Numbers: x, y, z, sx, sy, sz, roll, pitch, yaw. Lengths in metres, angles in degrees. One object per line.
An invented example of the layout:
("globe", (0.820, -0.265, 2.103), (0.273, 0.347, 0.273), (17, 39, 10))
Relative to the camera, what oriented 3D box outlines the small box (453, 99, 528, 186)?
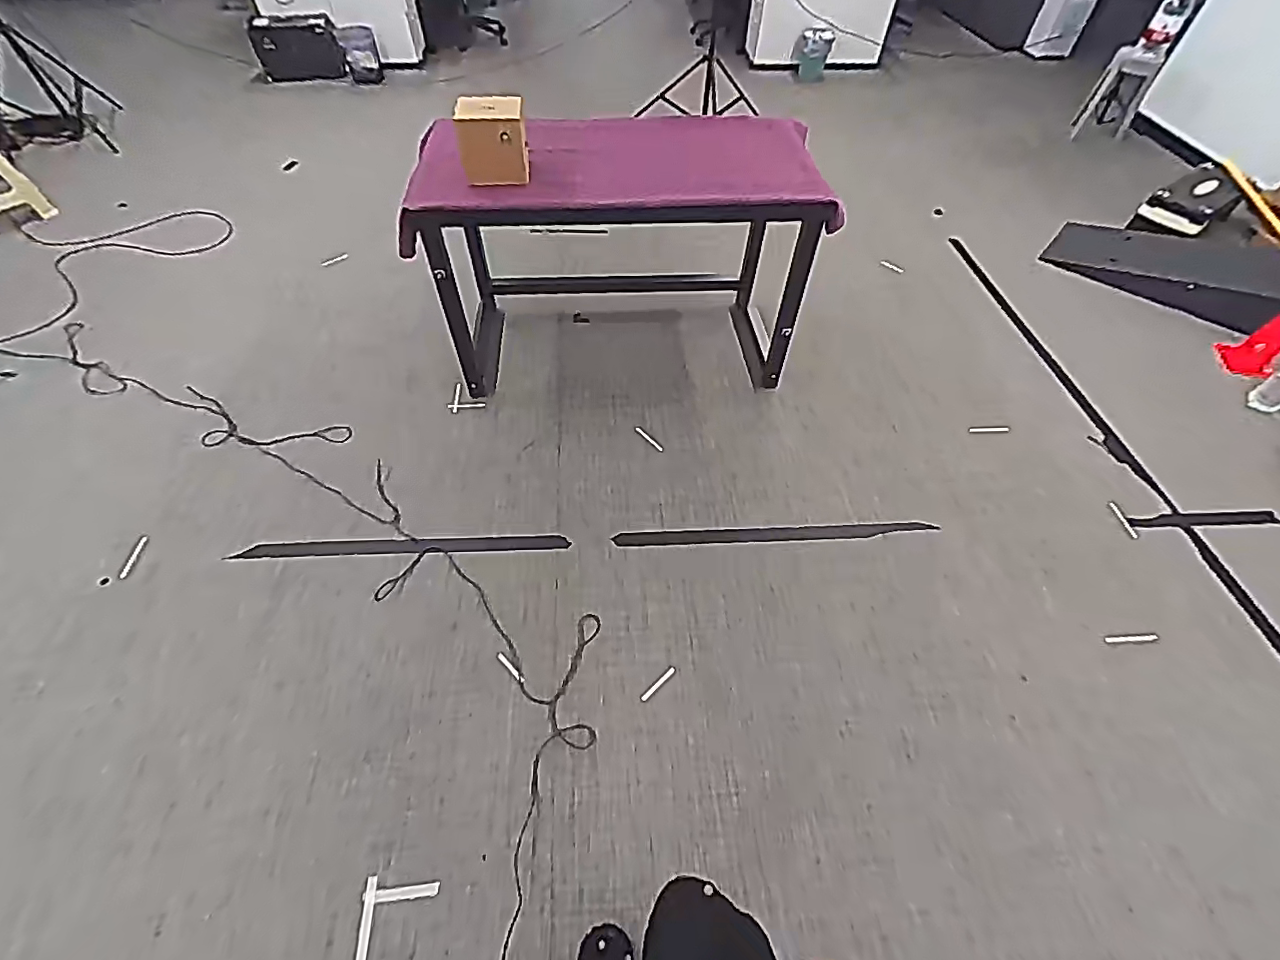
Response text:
("small box", (-0.415, -0.952, 1.529), (0.179, 0.176, 0.168), (-5, 51, -5))
